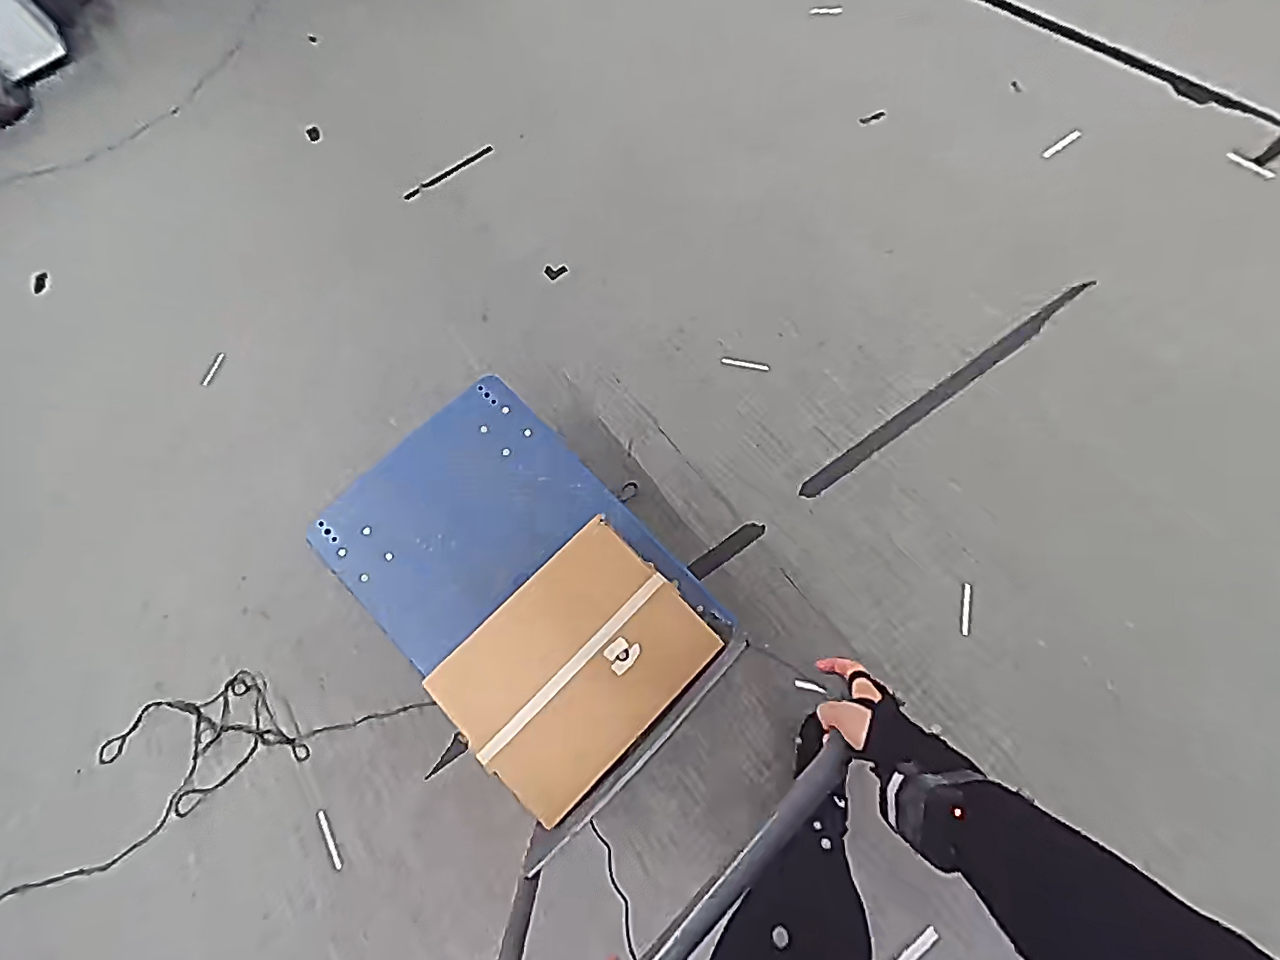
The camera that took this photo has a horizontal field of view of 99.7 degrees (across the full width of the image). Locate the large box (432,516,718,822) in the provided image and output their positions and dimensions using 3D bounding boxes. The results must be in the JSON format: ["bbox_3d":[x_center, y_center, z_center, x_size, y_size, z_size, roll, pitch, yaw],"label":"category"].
[{"bbox_3d":[-0.112,0.340,1.056,0.320,0.320,0.408,44,79,7],"label":"large box"}]
